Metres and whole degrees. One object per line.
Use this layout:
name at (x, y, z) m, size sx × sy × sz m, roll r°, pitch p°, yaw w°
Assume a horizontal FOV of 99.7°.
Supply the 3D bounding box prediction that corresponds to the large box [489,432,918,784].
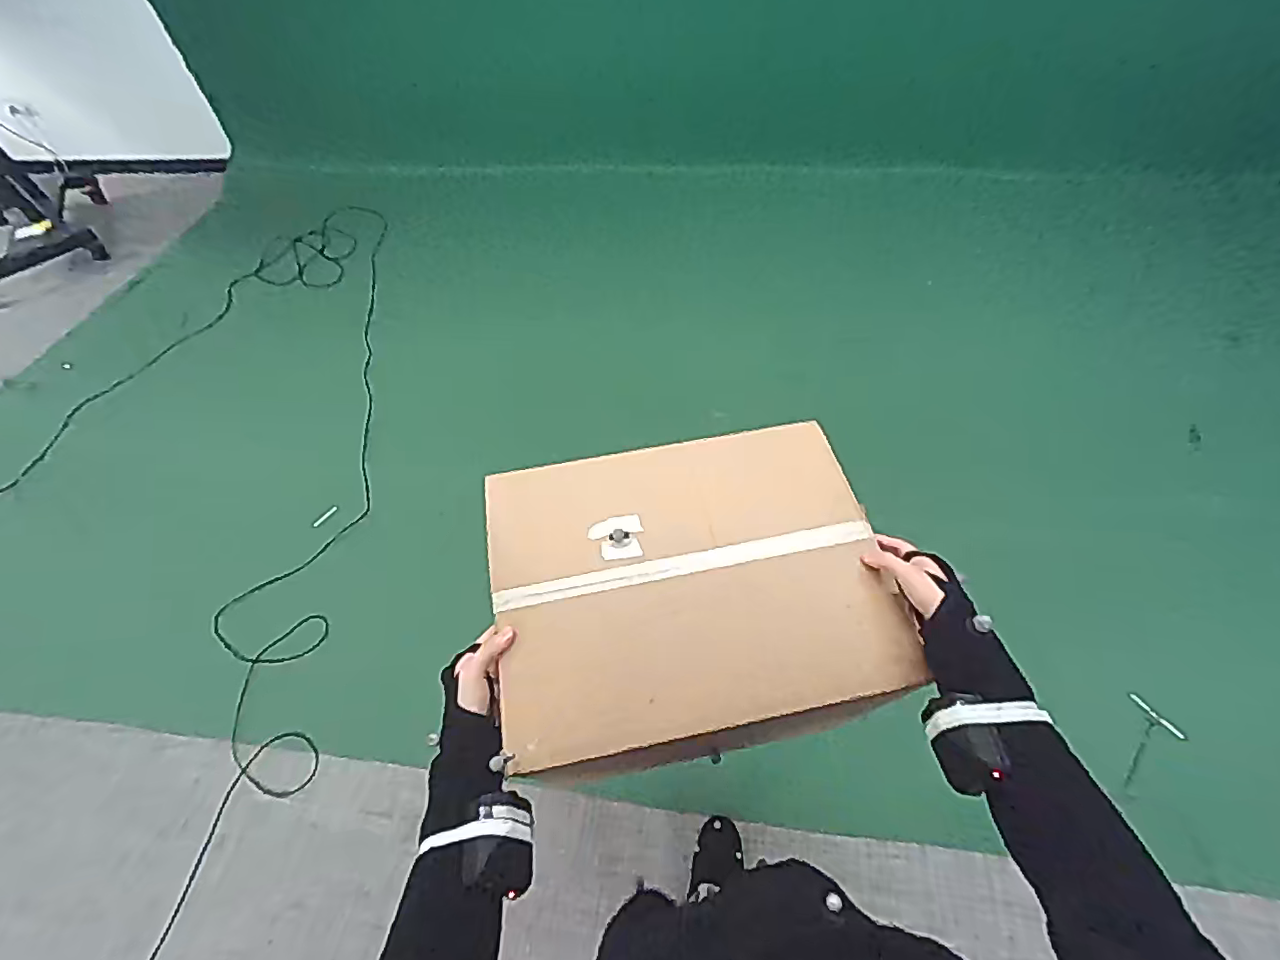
large box at (0.052, 0.179, 0.704) m, size 0.408 × 0.320 × 0.320 m, roll -11°, pitch 59°, yaw -5°
